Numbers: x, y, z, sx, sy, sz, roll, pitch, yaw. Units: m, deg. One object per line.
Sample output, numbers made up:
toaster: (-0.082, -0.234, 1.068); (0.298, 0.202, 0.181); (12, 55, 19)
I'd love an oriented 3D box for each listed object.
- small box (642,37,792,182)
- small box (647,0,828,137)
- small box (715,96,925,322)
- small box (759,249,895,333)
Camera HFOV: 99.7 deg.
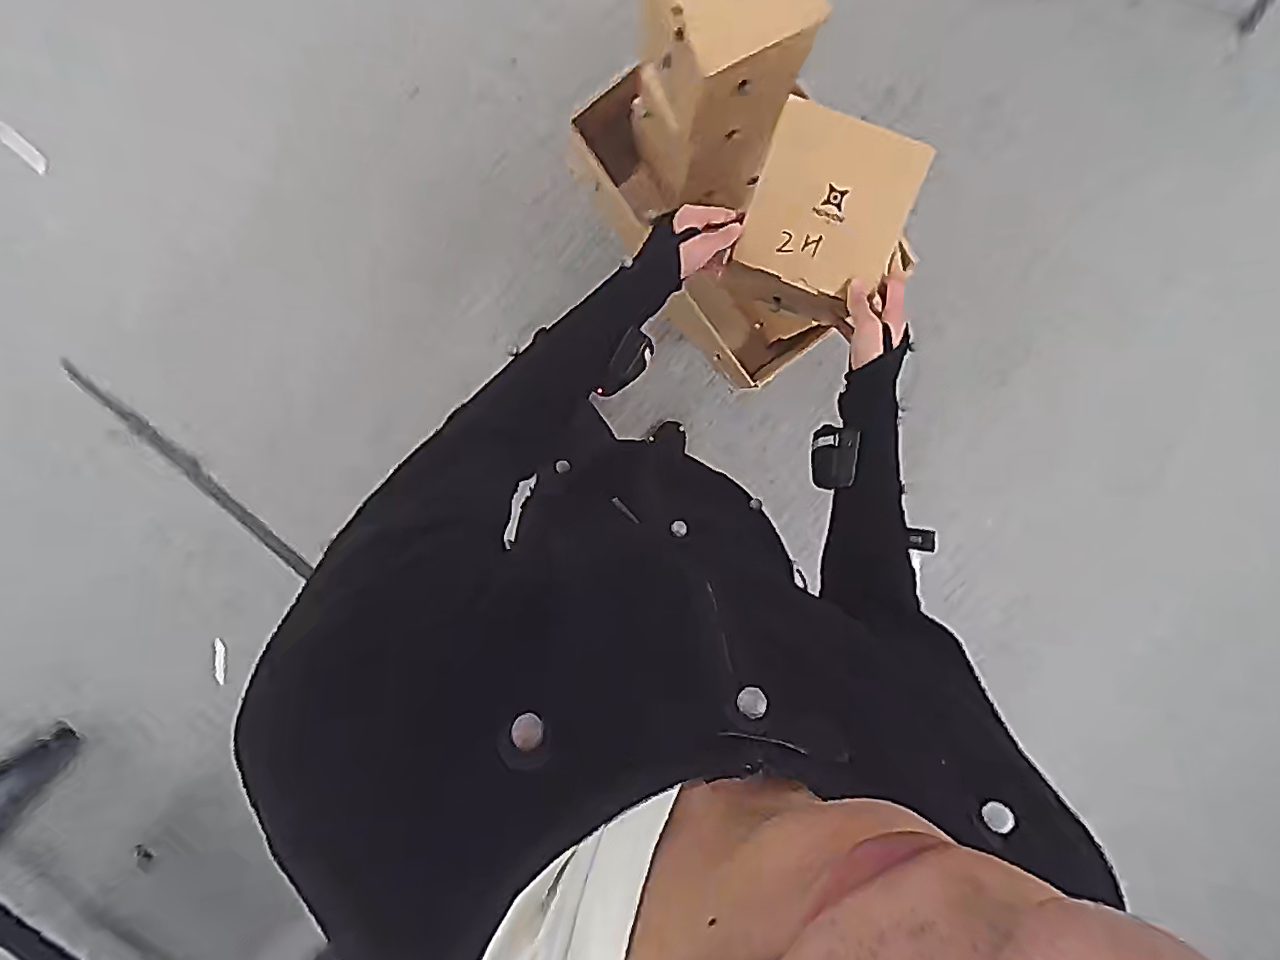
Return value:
small box: (0.115, -0.631, 0.885); (0.179, 0.176, 0.168); (-29, 97, 1)
small box: (0.116, -0.605, 0.722); (0.179, 0.176, 0.168); (-25, 98, 2)
small box: (0.199, -0.308, 0.657); (0.168, 0.176, 0.179); (20, 101, -1)
small box: (0.288, -0.369, 0.925); (0.168, 0.176, 0.179); (-34, 96, 2)
